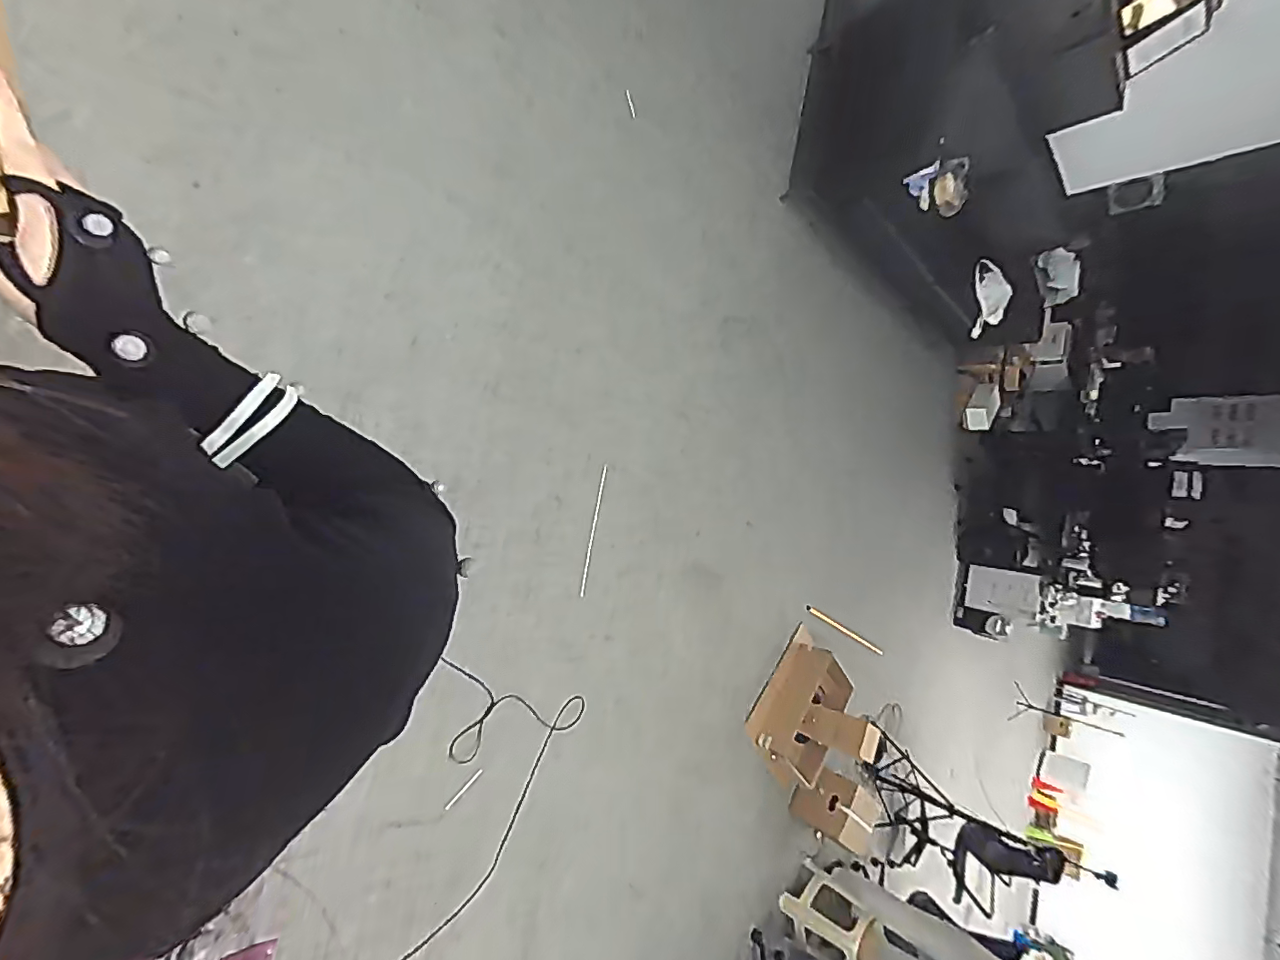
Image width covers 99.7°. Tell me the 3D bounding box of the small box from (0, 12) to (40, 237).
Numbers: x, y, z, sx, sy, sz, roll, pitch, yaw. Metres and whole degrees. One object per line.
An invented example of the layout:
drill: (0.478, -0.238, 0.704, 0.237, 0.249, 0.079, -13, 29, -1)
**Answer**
small box: (-0.483, -0.247, 0.306, 0.168, 0.176, 0.179, -9, 109, -41)
